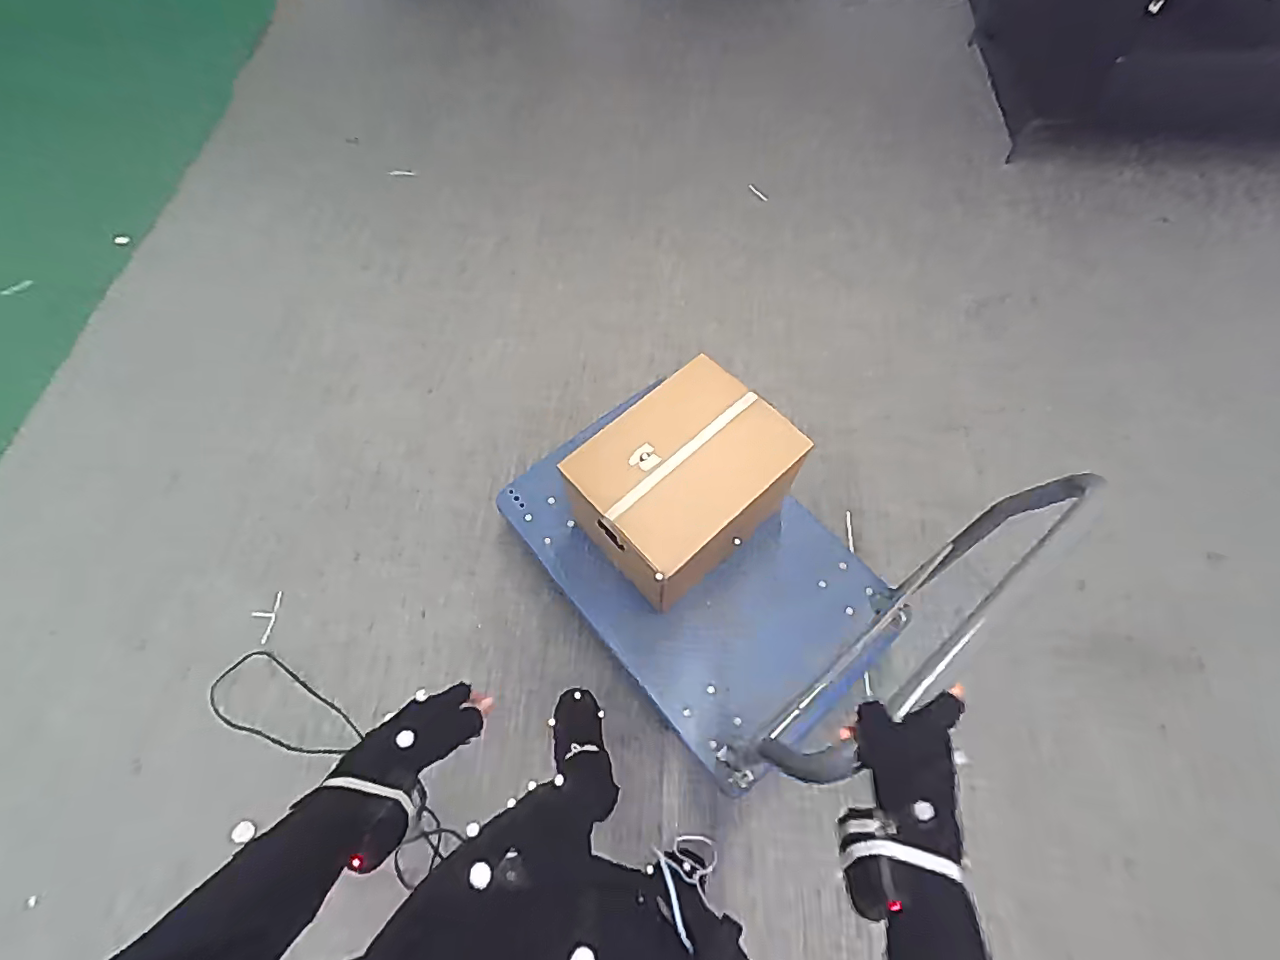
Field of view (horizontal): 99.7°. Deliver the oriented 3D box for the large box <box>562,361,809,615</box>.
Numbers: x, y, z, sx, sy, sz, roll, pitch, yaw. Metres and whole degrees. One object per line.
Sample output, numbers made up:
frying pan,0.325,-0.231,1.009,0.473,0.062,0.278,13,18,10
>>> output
large box,0.097,0.027,1.193,0.408,0.320,0.320,-41,69,-15
